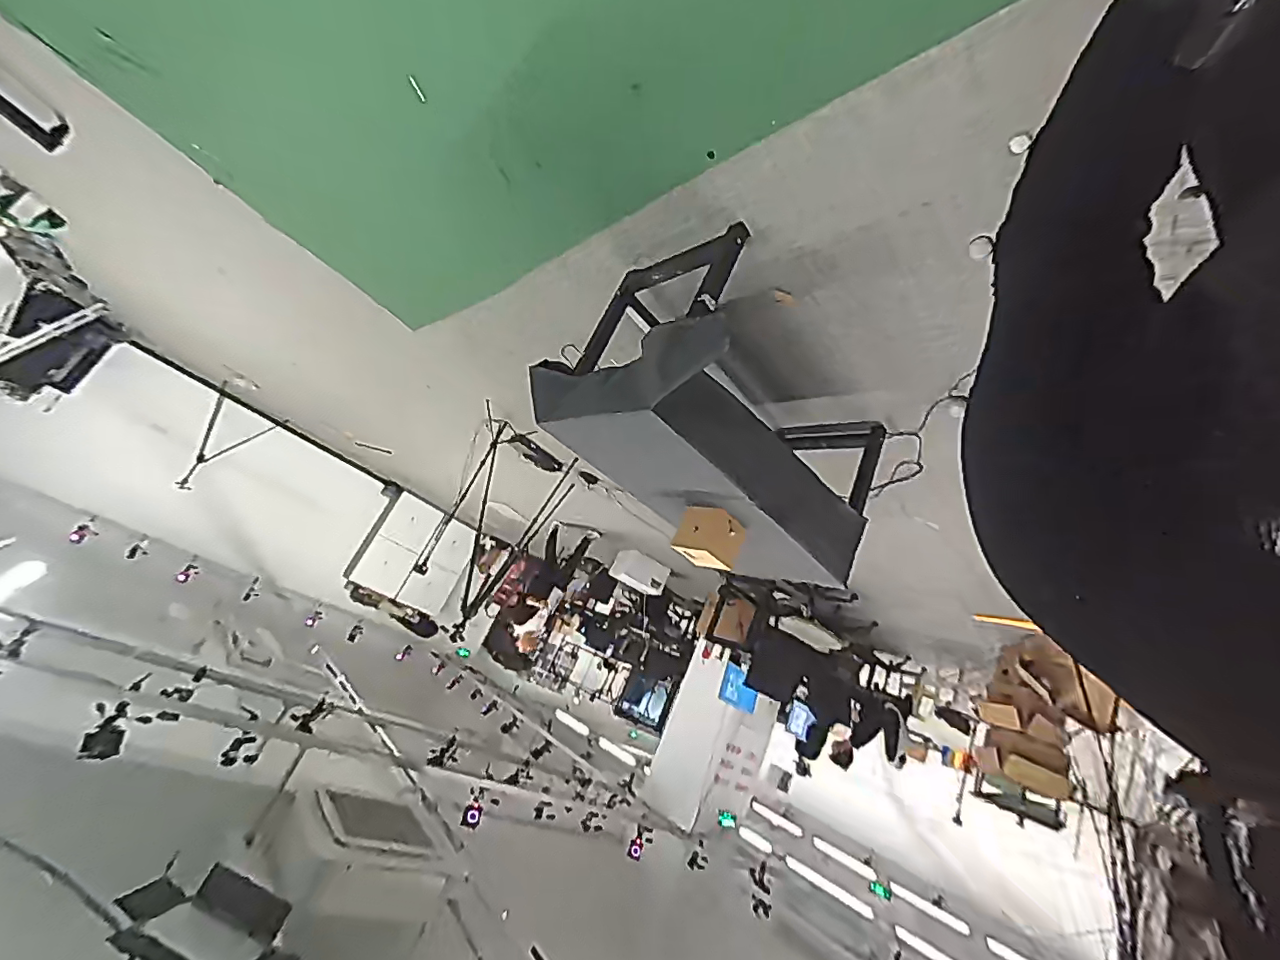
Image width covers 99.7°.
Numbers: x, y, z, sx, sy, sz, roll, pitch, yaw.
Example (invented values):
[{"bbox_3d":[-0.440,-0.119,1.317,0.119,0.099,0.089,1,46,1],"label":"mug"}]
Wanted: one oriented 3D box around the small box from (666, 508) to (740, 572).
[{"bbox_3d":[0.230,0.211,1.954,0.179,0.176,0.168,2,150,48],"label":"small box"}]
